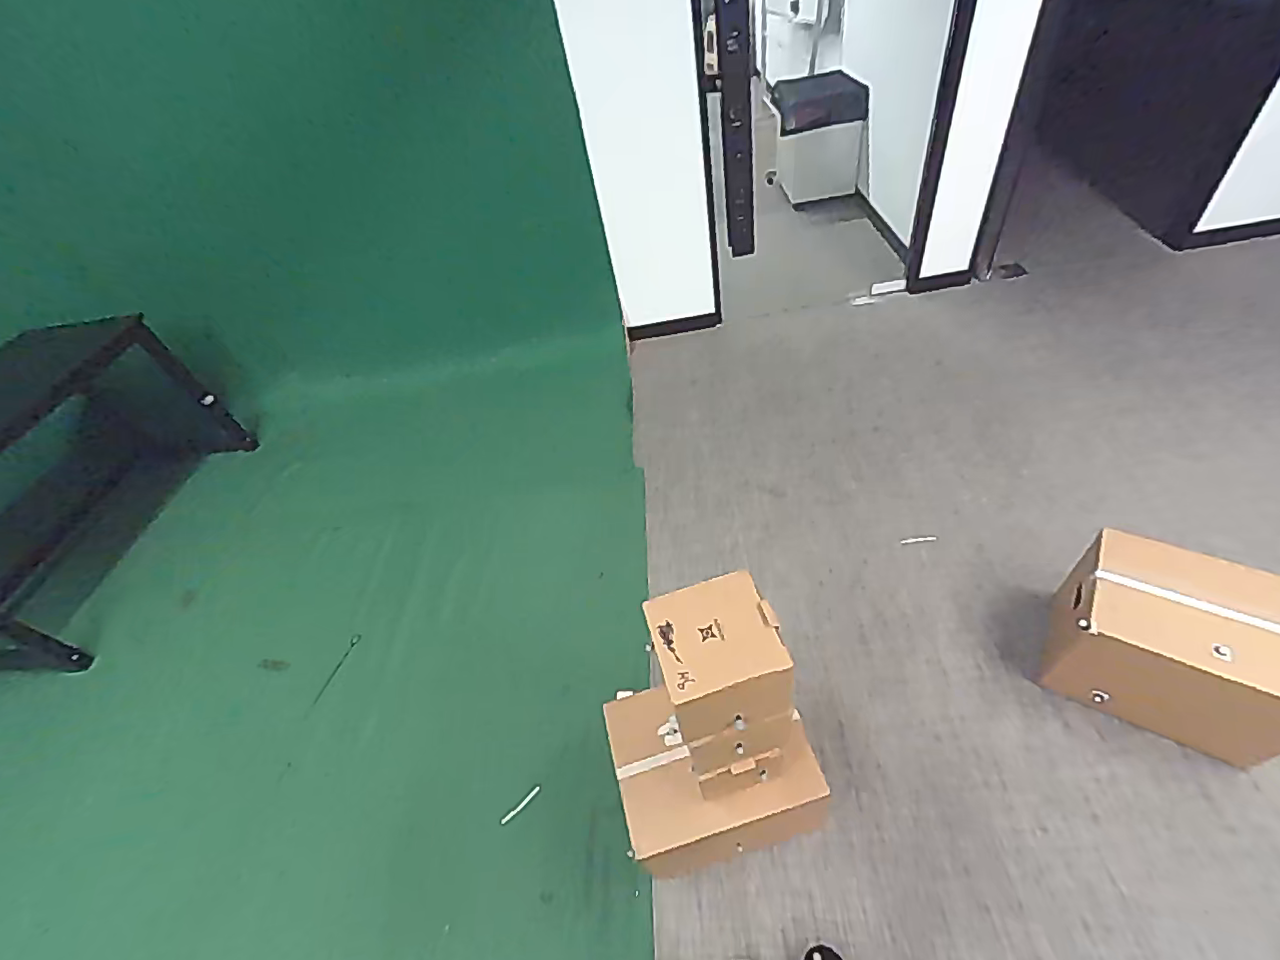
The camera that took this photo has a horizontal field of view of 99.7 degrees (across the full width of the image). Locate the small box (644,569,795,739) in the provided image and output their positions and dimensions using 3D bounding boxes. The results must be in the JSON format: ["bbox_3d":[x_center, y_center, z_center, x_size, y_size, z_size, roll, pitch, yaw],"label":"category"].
[{"bbox_3d":[0.118,0.269,0.829,0.179,0.176,0.168,-16,46,-4],"label":"small box"}]

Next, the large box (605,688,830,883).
[{"bbox_3d":[0.173,0.664,1.242,0.408,0.320,0.320,-18,45,-2],"label":"large box"}]

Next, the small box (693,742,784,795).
[{"bbox_3d":[0.174,0.495,1.061,0.168,0.176,0.179,-16,46,-3],"label":"small box"}]

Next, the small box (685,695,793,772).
[{"bbox_3d":[0.148,0.381,0.946,0.179,0.176,0.168,-18,46,-3],"label":"small box"}]
